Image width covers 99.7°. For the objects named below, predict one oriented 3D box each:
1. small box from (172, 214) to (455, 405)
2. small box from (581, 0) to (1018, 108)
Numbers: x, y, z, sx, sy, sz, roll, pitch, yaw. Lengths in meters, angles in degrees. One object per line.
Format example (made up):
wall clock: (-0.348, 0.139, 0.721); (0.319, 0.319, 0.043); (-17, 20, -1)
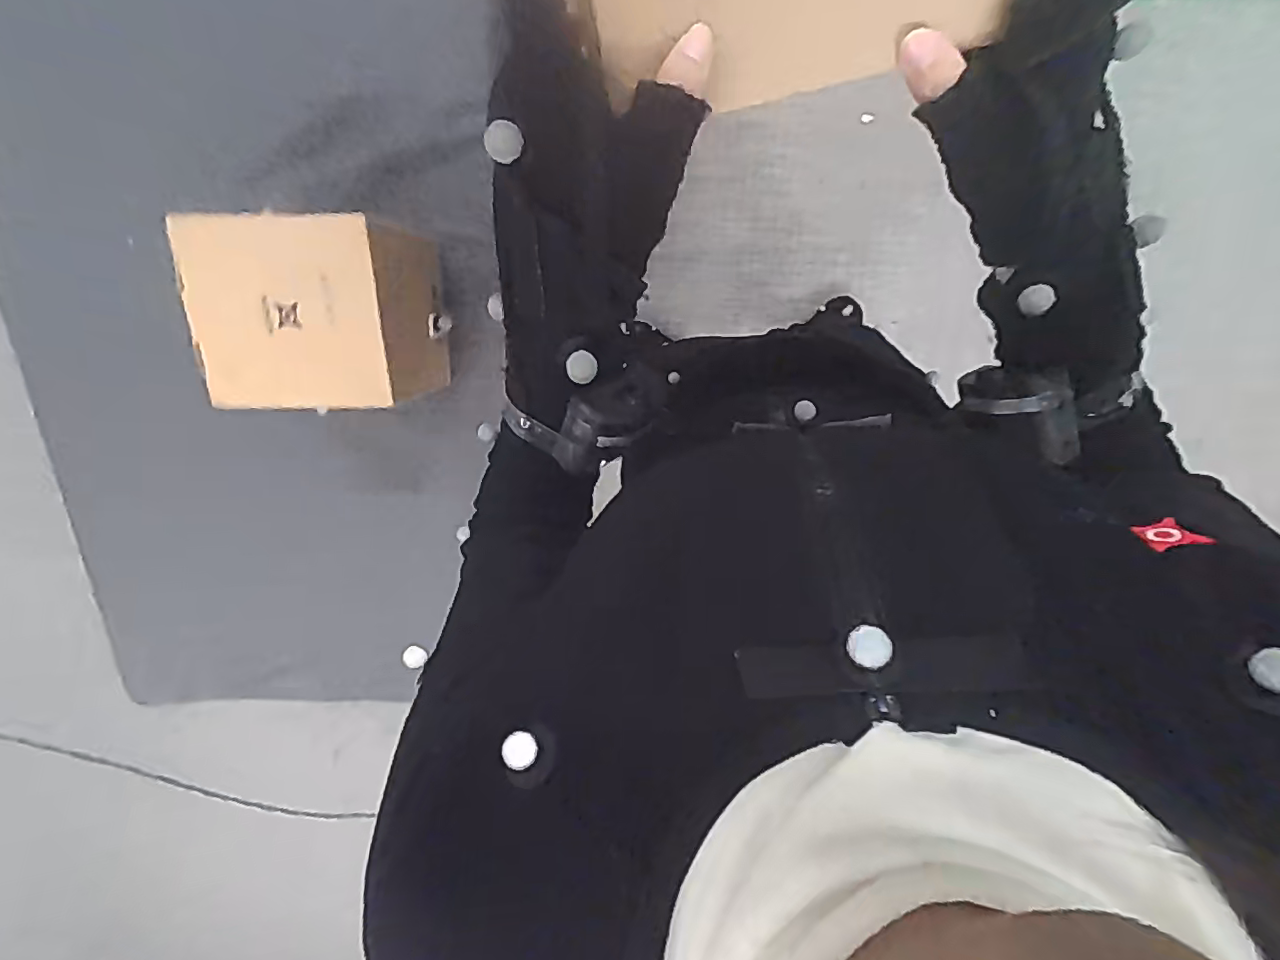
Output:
small box: (-0.315, -0.173, 0.564); (0.179, 0.176, 0.168); (-1, 108, 2)
small box: (0.049, -0.287, 0.231); (0.179, 0.176, 0.168); (-15, 133, 2)
